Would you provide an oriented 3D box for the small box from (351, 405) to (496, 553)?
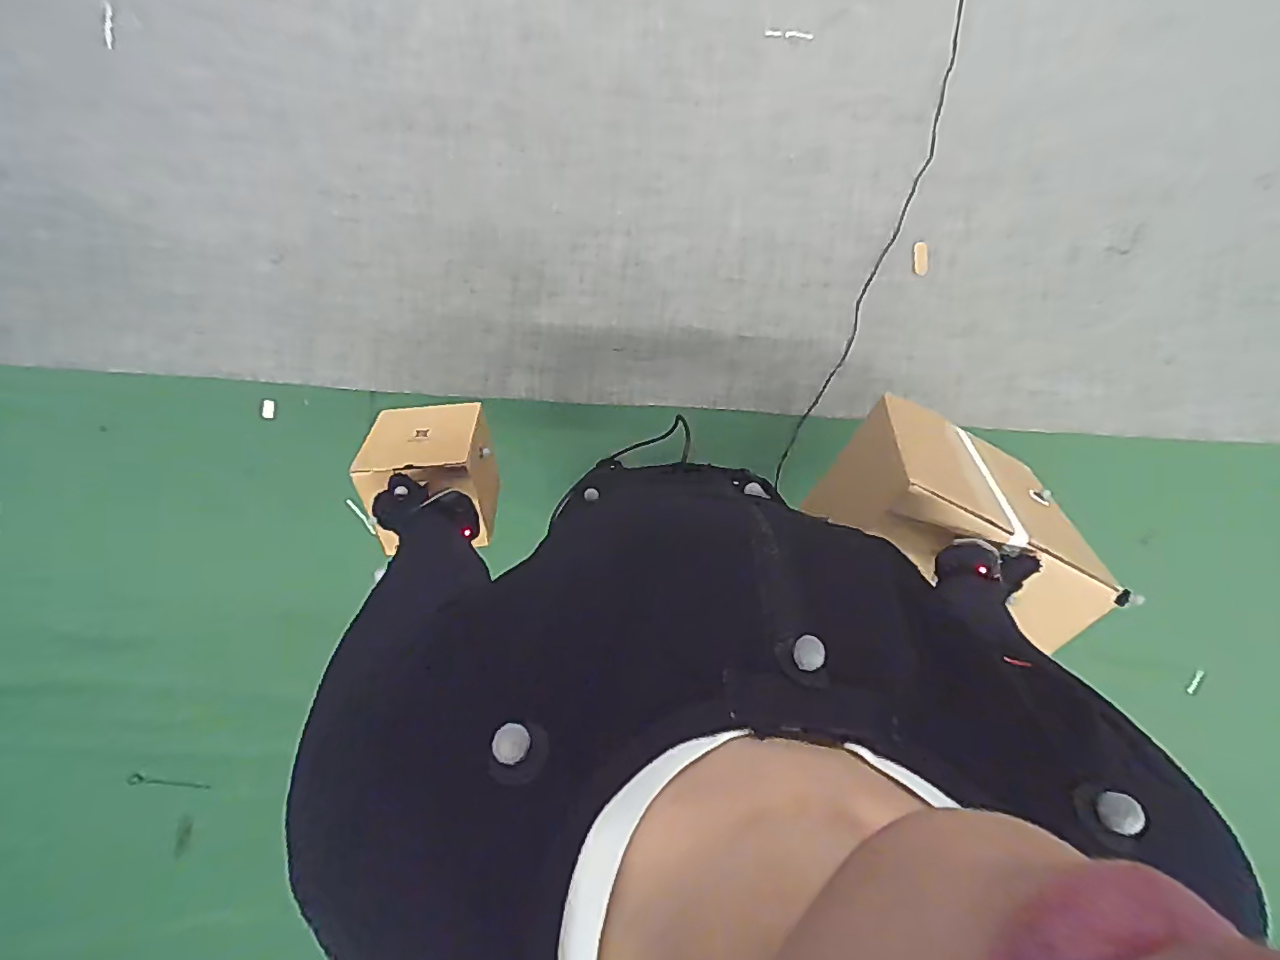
[{"bbox_3d":[-0.338,-0.003,0.886,0.168,0.179,0.176,-6,129,-4],"label":"small box"}]
